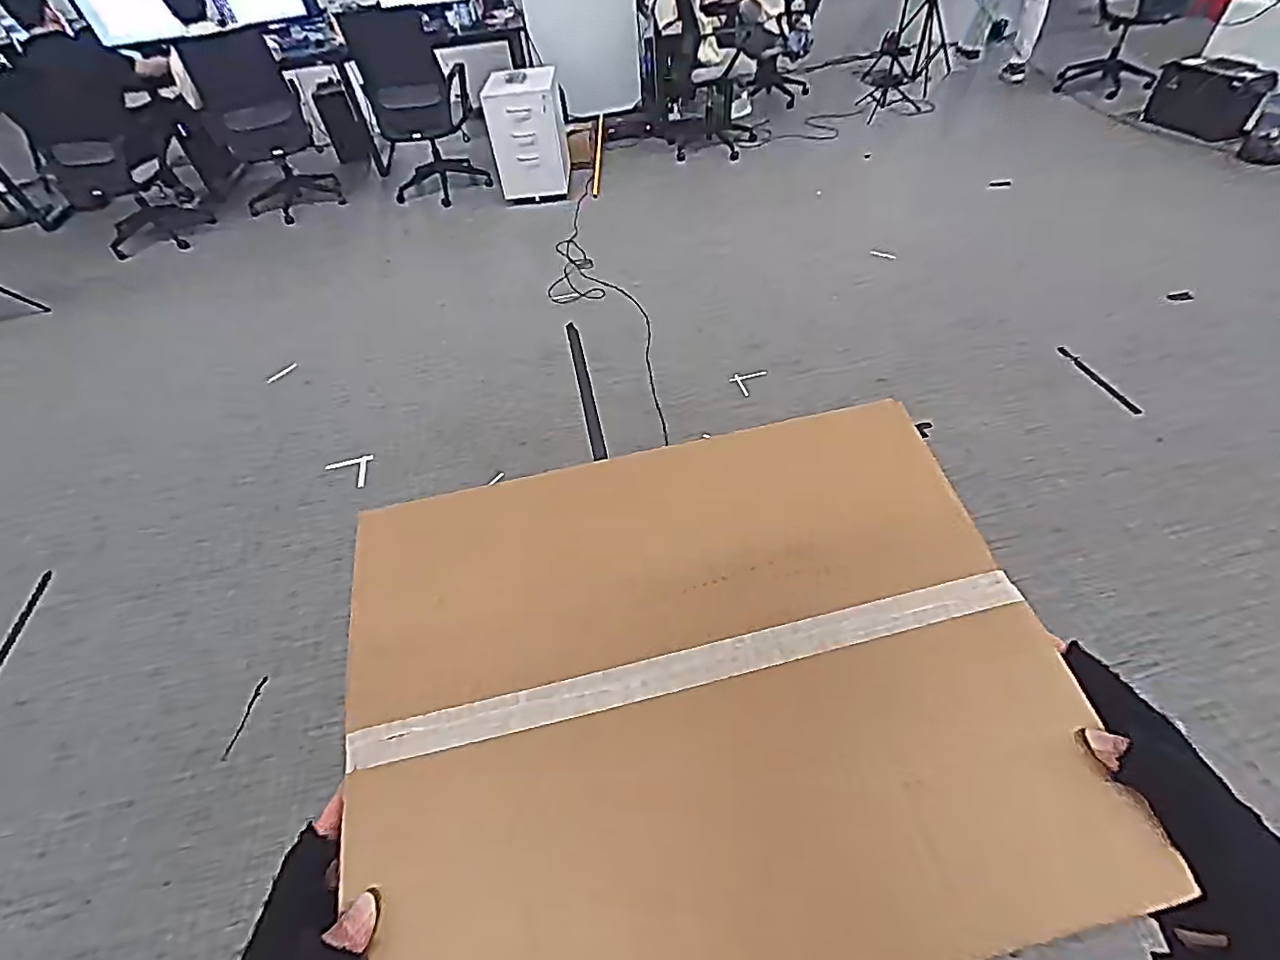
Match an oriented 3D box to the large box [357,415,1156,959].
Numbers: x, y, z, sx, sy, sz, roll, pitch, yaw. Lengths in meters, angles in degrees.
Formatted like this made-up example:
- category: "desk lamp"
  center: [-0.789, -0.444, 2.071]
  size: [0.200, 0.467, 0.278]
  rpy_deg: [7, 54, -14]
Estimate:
- category: "large box"
  center: [0.042, 0.195, 0.454]
  size: [0.408, 0.320, 0.320]
  rpy_deg: [-13, 59, -4]
